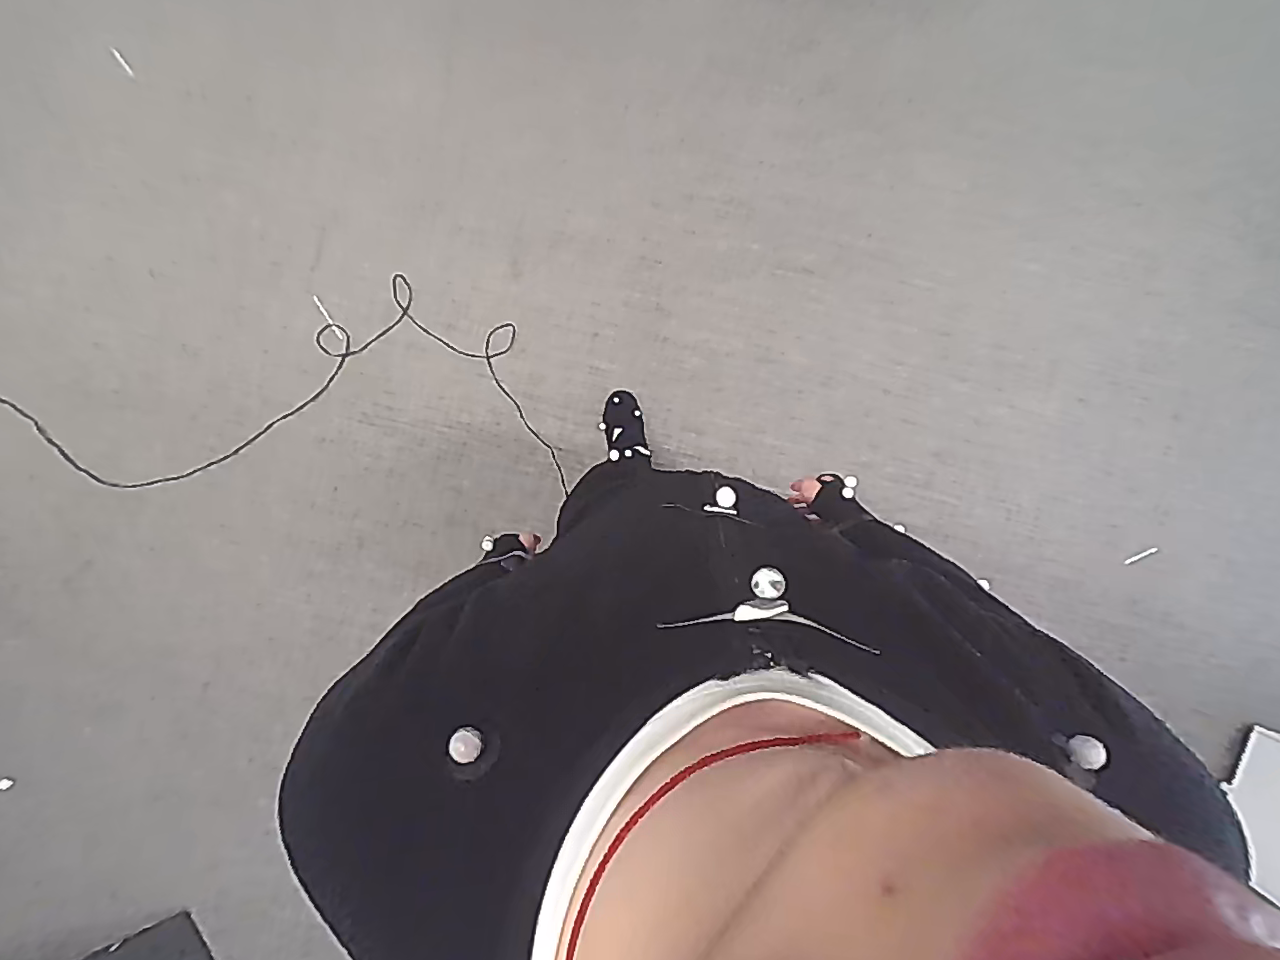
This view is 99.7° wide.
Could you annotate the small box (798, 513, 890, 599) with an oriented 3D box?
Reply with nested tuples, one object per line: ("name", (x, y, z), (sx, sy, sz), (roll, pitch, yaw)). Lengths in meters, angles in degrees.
("small box", (0.552, 0.203, 1.491), (0.168, 0.176, 0.179), (15, 95, -1))
